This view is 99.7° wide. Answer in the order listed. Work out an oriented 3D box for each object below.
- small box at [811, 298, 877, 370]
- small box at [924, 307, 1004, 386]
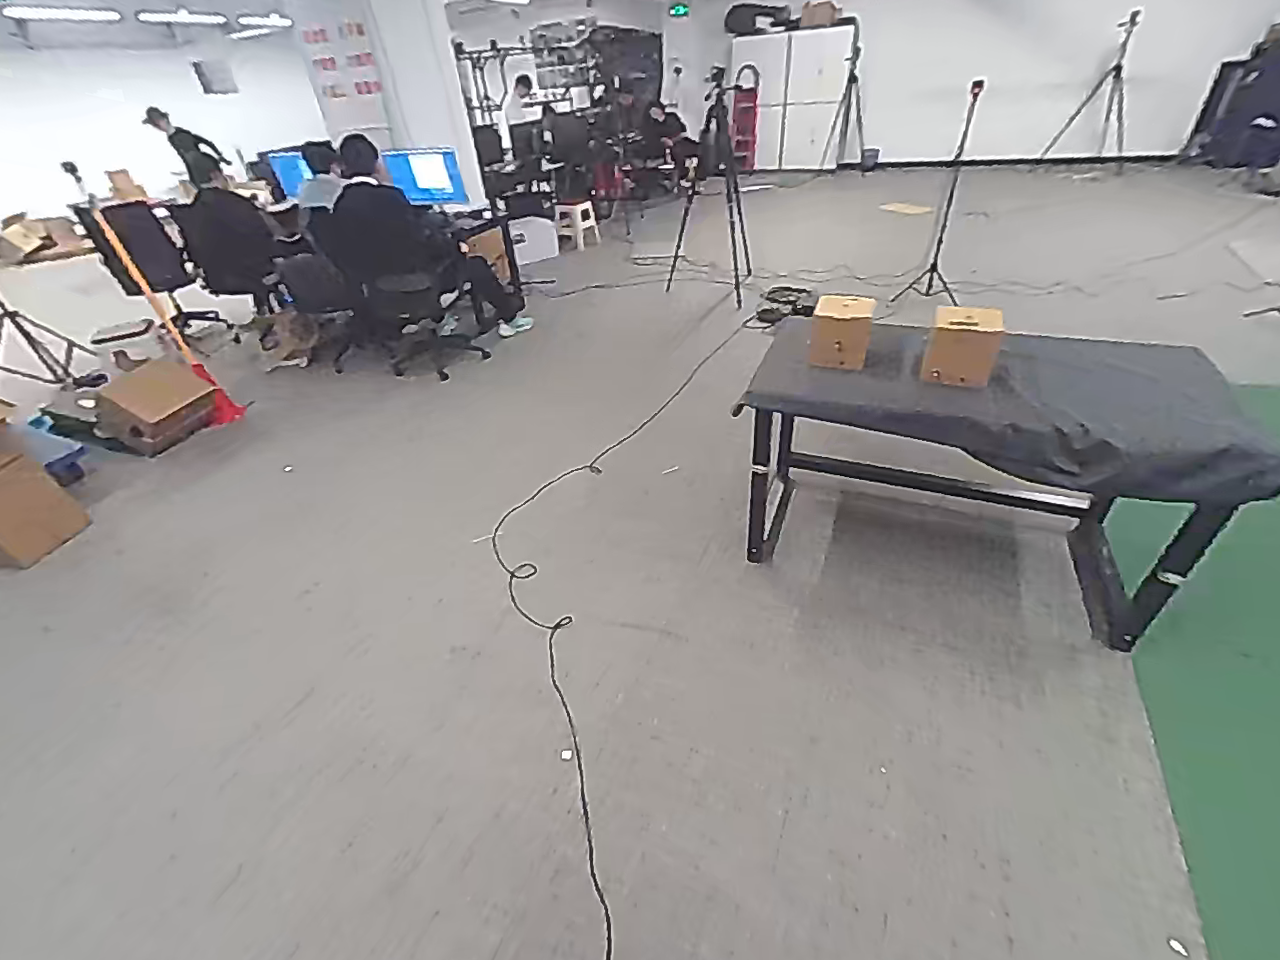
[{"bbox_3d":[0.638,-0.457,1.695,0.168,0.176,0.179,10,40,21],"label":"small box"},{"bbox_3d":[0.928,-0.384,1.553,0.168,0.176,0.179,12,39,23],"label":"small box"}]
